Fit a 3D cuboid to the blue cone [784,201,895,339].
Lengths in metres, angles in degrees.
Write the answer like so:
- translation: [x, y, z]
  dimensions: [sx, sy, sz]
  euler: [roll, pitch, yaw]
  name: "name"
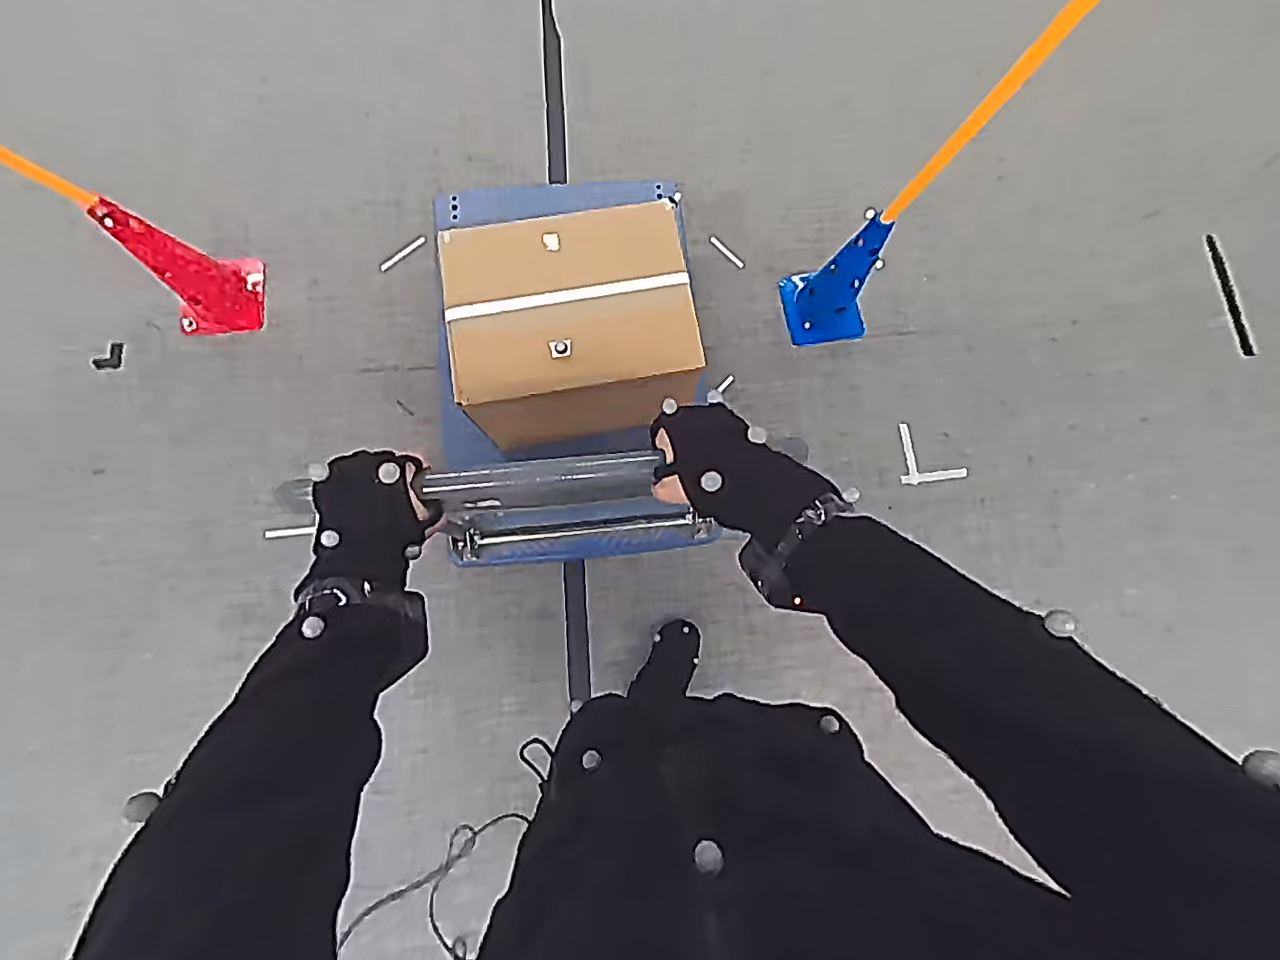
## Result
- translation: [0.494, -0.500, 1.271]
  dimensions: [0.193, 0.380, 0.192]
  euler: [-8, 79, -4]
  name: "blue cone"
